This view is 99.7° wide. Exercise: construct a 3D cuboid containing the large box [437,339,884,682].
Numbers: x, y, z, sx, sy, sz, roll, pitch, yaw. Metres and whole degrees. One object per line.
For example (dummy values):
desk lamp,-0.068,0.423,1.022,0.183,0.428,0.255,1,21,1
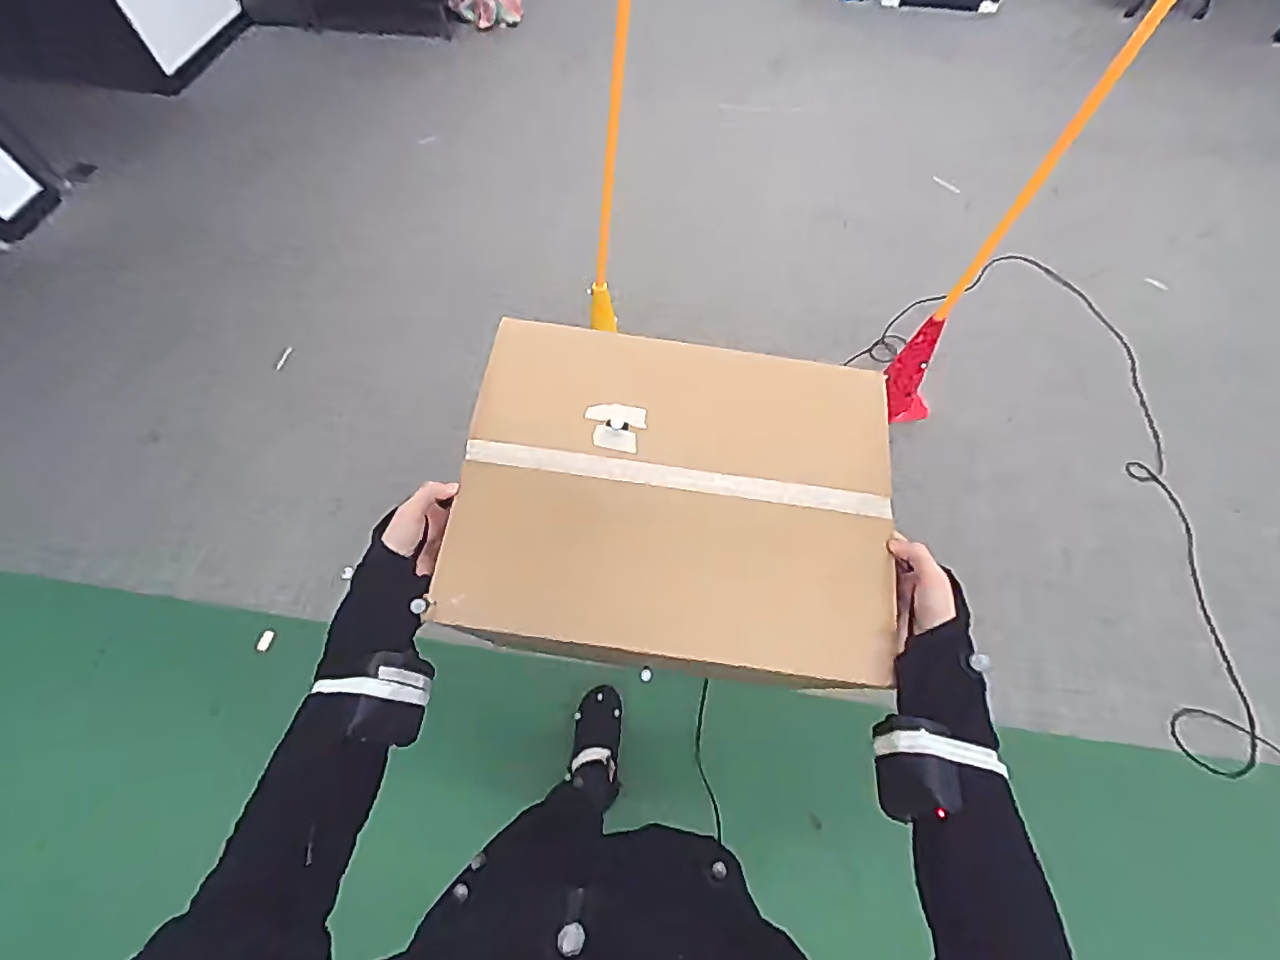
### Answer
large box,0.031,0.064,0.665,0.408,0.320,0.320,8,68,1
